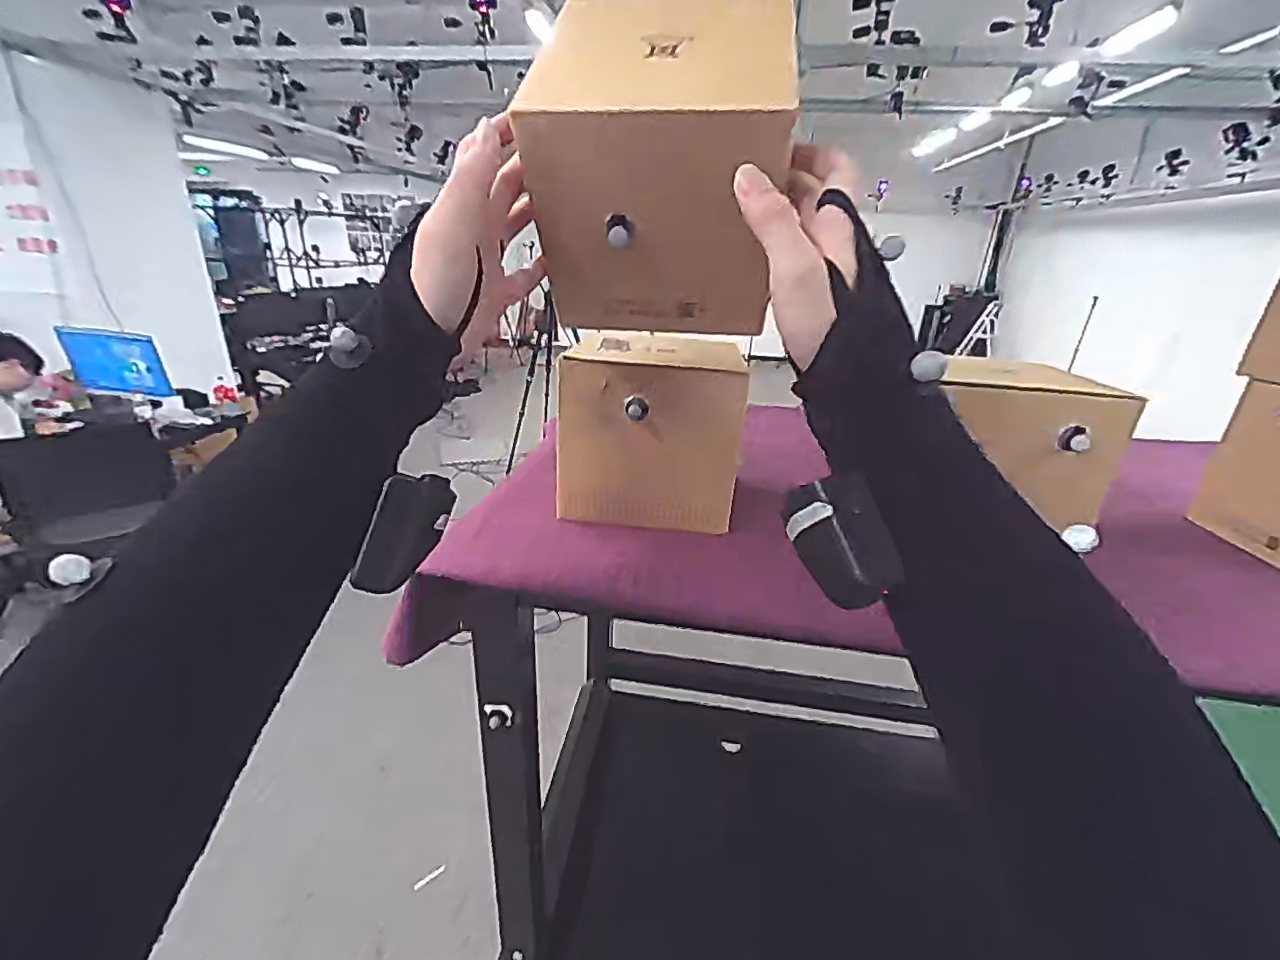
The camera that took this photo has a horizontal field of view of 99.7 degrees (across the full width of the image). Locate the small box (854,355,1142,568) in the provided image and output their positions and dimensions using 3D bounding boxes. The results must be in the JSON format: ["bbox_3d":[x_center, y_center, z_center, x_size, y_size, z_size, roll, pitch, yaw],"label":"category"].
[{"bbox_3d":[0.341,-0.025,0.559,0.179,0.176,0.168,6,22,8],"label":"small box"}]

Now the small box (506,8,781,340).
[{"bbox_3d":[0.017,-0.228,0.423,0.168,0.176,0.179,4,56,8],"label":"small box"}]

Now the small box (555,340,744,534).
[{"bbox_3d":[0.012,-0.053,0.589,0.179,0.176,0.168,5,22,4],"label":"small box"}]

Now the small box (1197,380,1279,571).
[{"bbox_3d":[0.710,0.010,0.511,0.179,0.176,0.168,6,21,7],"label":"small box"}]
